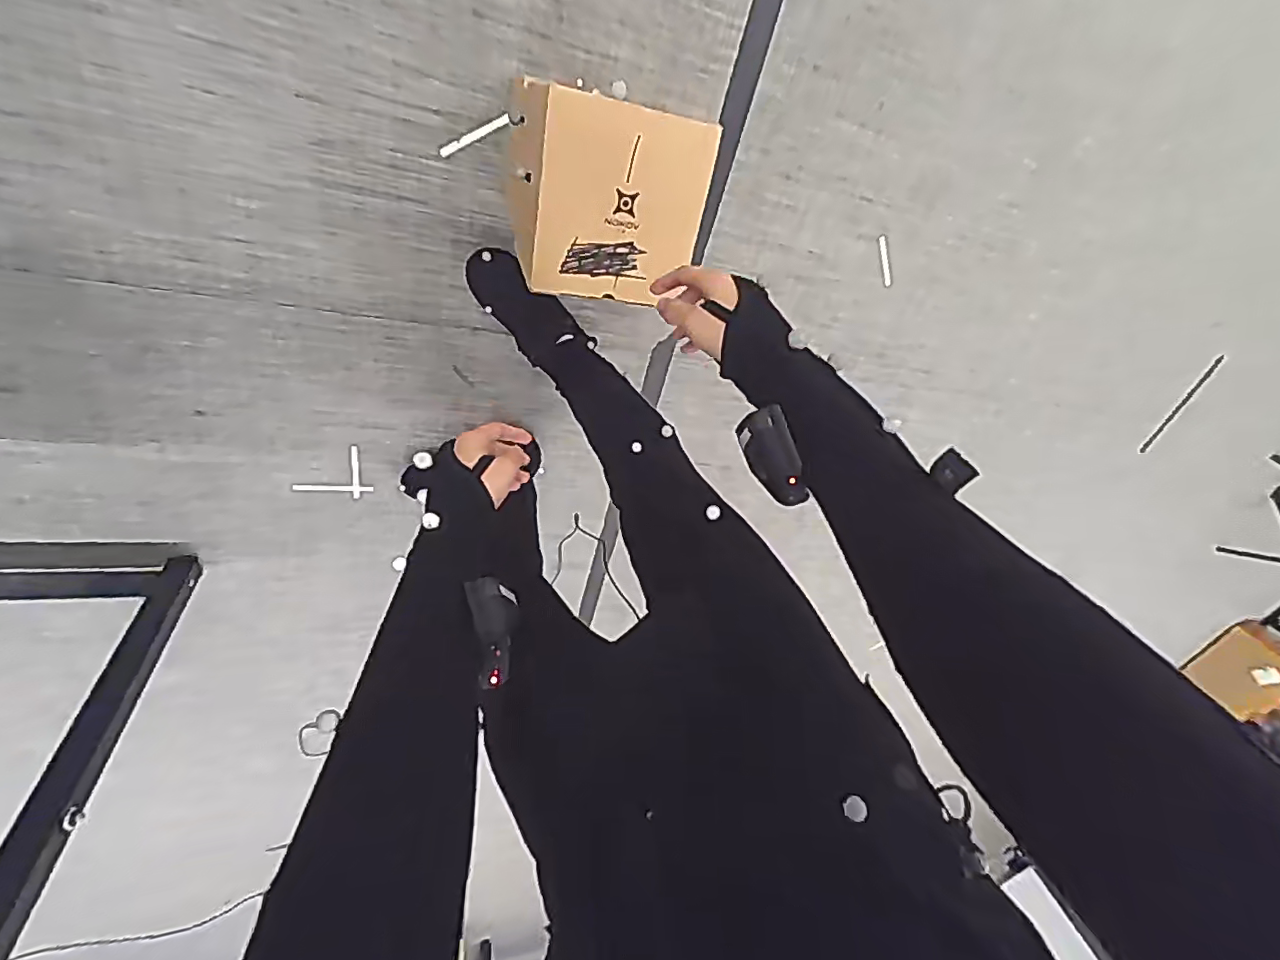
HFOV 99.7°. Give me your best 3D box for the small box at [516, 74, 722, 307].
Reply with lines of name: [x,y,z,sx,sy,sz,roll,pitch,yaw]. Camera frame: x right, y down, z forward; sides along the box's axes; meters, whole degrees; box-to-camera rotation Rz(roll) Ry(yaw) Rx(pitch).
small box: [-0.038,-0.308,0.579,0.168,0.176,0.179,1,125,-20]

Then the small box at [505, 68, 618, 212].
small box: [-0.113,-0.506,0.831,0.168,0.176,0.179,2,126,-20]
